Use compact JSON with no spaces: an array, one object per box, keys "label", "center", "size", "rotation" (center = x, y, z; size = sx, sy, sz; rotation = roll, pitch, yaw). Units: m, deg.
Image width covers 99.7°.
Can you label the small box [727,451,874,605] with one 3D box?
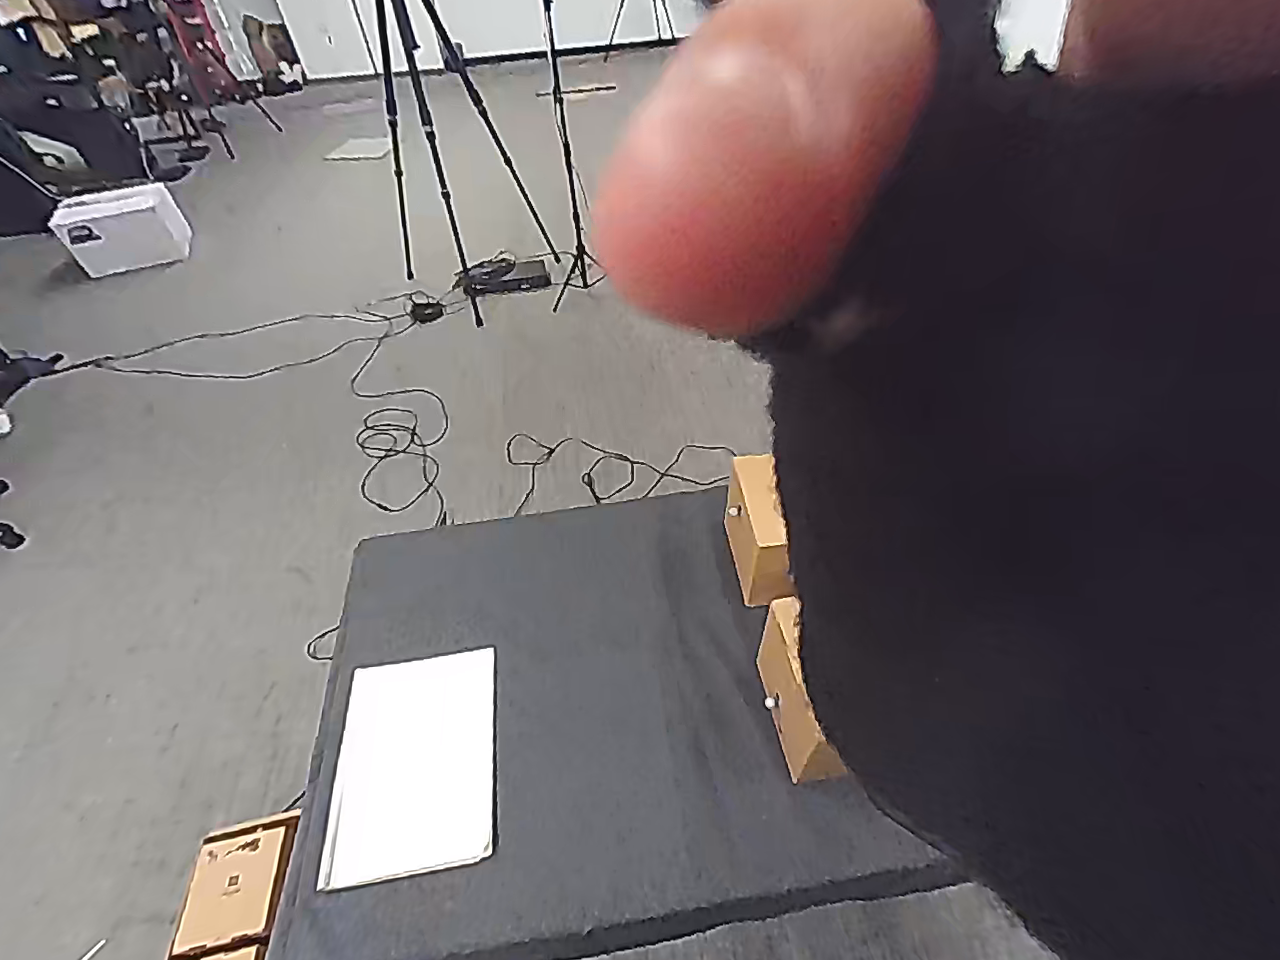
[{"label":"small box","center":[0.235,0.080,0.840],"size":[0.168,0.176,0.179],"rotation":[-6,46,-1]}]

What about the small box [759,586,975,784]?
[{"label":"small box","center":[0.259,0.255,0.669],"size":[0.179,0.176,0.168],"rotation":[-8,46,-2]}]
